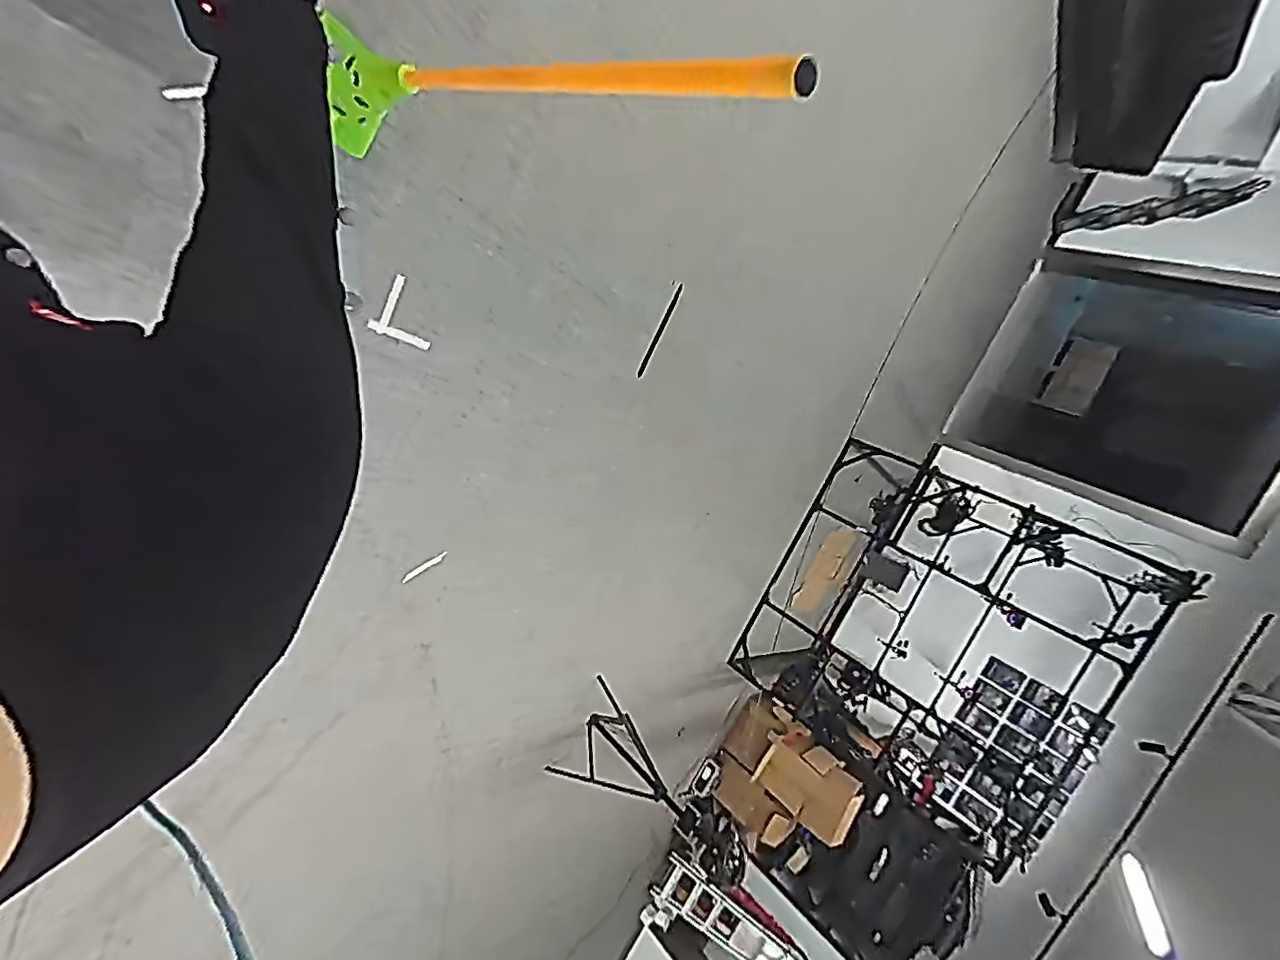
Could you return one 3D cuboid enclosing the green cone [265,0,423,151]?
[{"bbox_3d":[-0.521,-0.765,1.029,0.202,0.368,0.200,25,95,-55],"label":"green cone"}]
